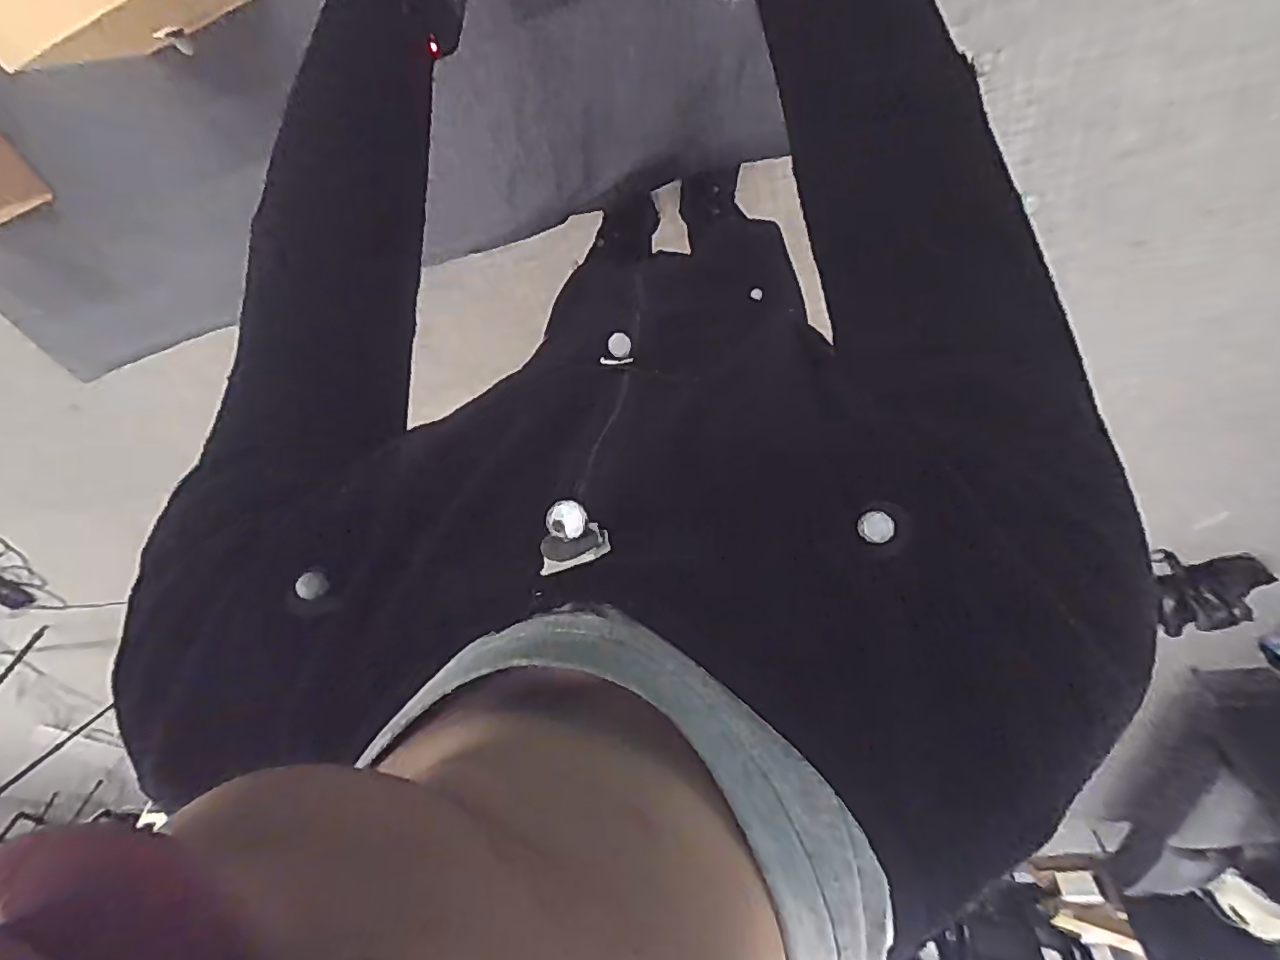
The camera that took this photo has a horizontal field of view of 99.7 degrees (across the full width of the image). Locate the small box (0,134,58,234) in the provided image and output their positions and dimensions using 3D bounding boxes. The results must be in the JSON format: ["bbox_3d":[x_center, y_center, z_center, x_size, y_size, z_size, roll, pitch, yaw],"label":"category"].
[{"bbox_3d":[-0.831,-0.346,0.587,0.168,0.176,0.179,-11,129,16],"label":"small box"}]
